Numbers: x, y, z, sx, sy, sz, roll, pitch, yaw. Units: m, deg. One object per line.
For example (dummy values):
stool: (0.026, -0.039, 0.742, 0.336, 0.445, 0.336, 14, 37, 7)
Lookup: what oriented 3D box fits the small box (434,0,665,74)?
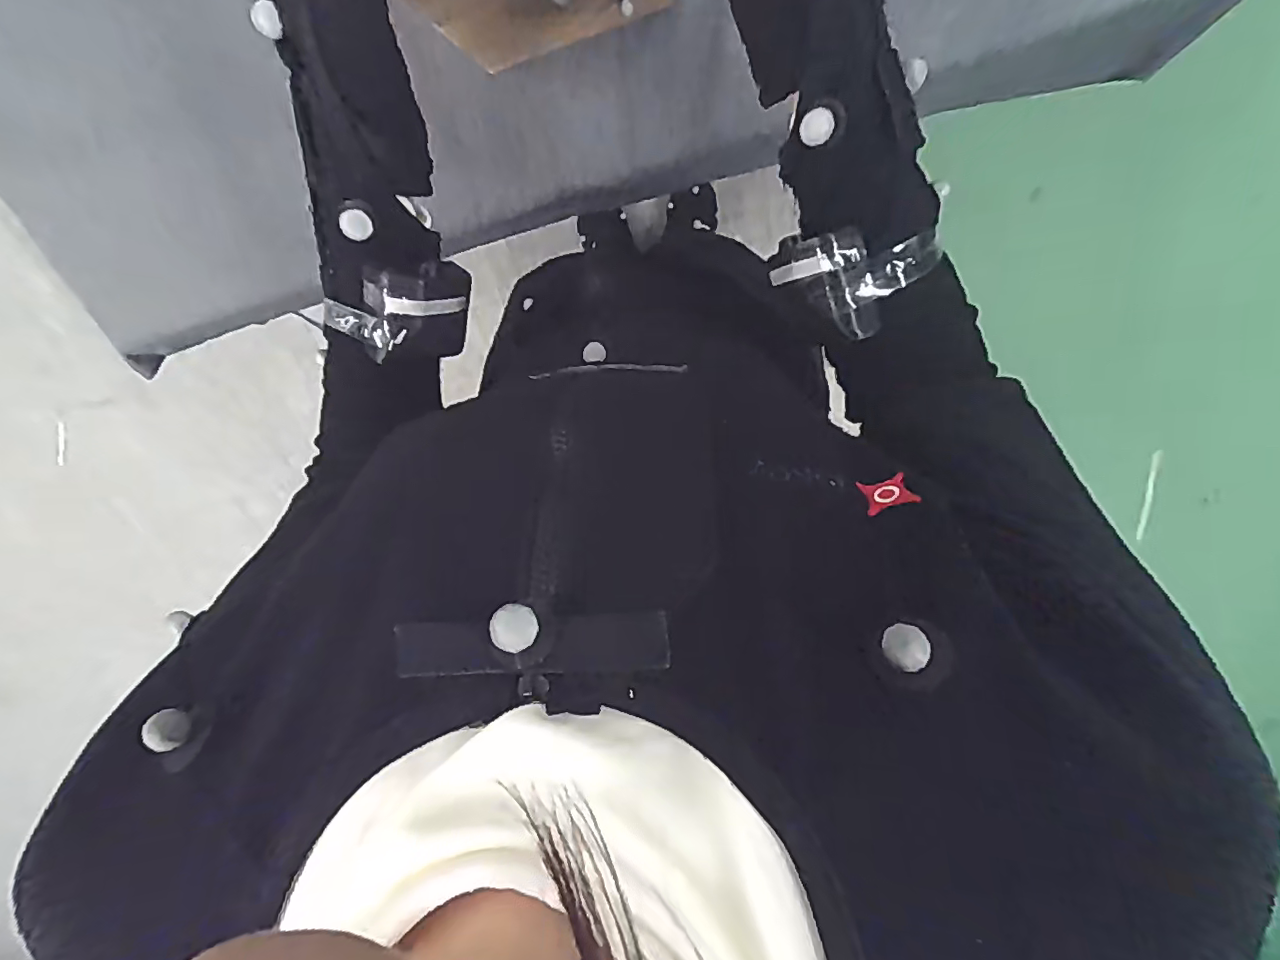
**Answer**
small box: (-0.074, -0.433, 0.393, 0.179, 0.176, 0.168, -16, 116, 9)
